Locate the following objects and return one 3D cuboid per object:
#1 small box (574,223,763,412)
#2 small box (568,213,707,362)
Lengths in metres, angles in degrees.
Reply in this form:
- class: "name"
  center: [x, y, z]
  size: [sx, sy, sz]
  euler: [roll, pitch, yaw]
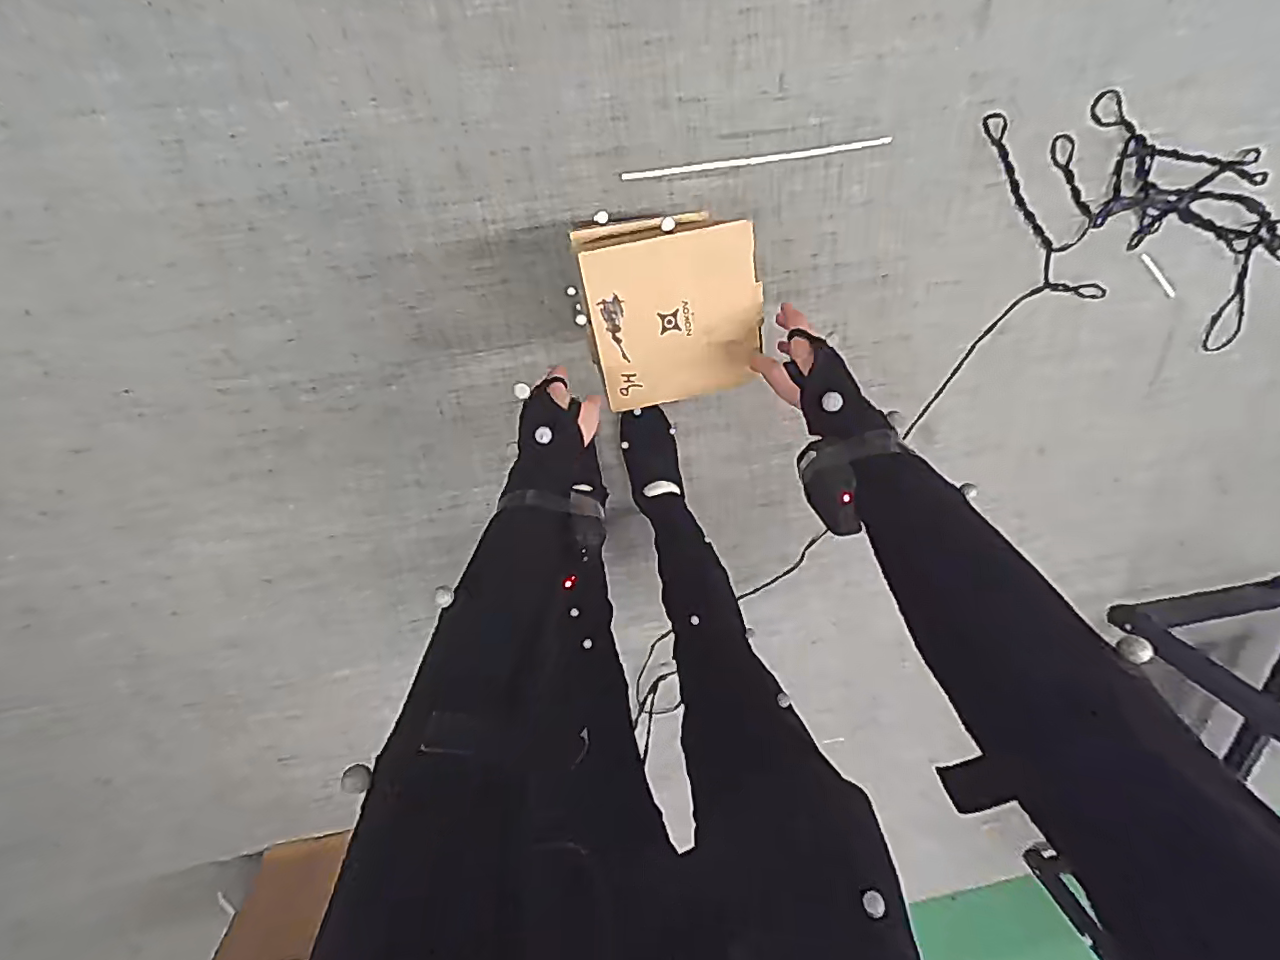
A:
- class: "small box"
  center: [0.026, -0.196, 0.628]
  size: [0.179, 0.176, 0.168]
  euler: [-13, 115, -3]
- class: "small box"
  center: [-0.002, -0.276, 0.769]
  size: [0.179, 0.176, 0.168]
  euler: [-11, 116, -3]
